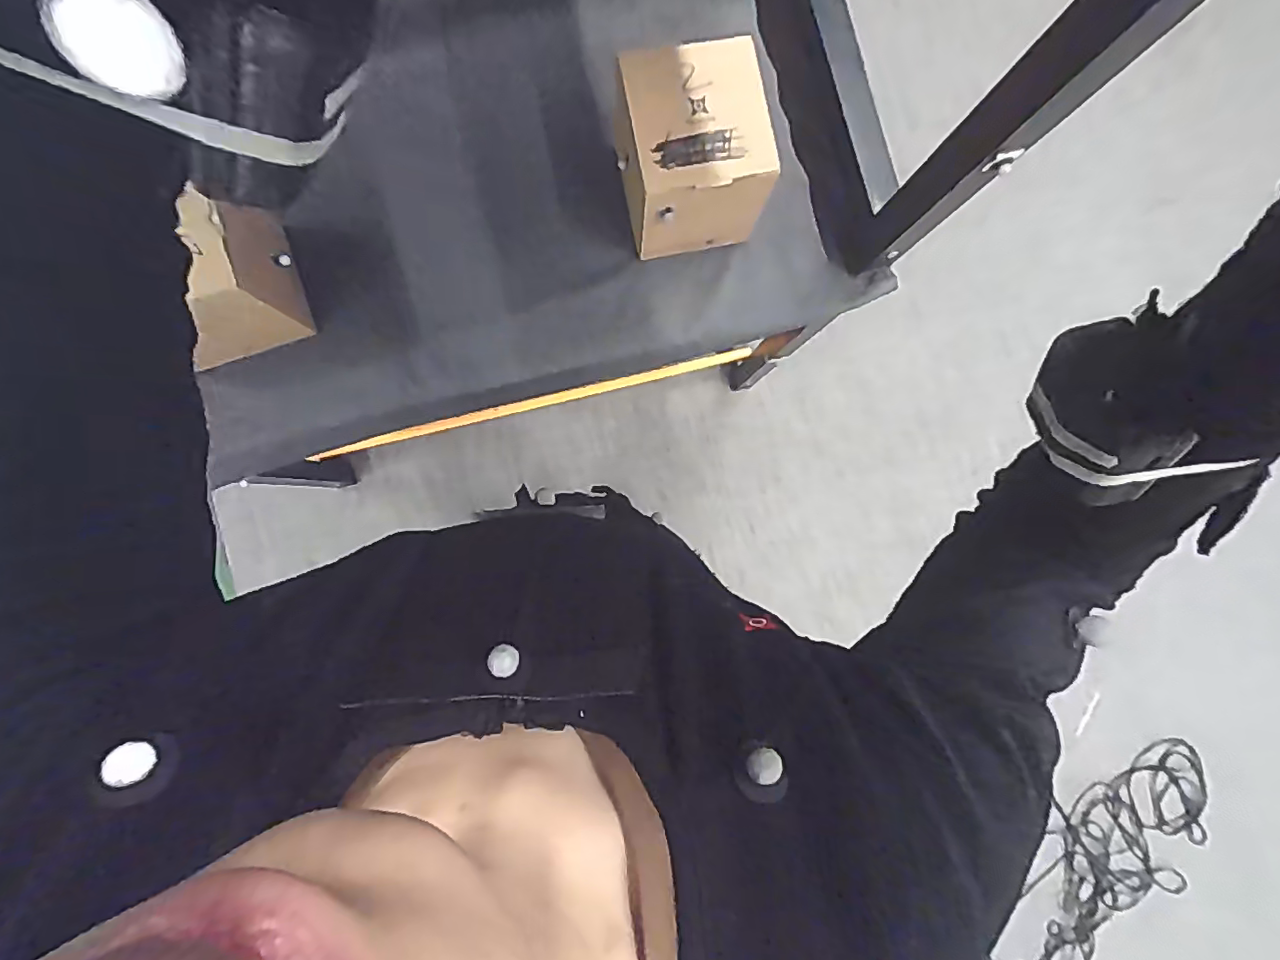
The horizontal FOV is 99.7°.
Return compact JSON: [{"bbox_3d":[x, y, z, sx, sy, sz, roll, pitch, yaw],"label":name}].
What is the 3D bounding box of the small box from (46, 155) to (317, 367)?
[{"bbox_3d":[-0.553,-0.257,0.678,0.179,0.176,0.168,-19,89,-5],"label":"small box"}]
